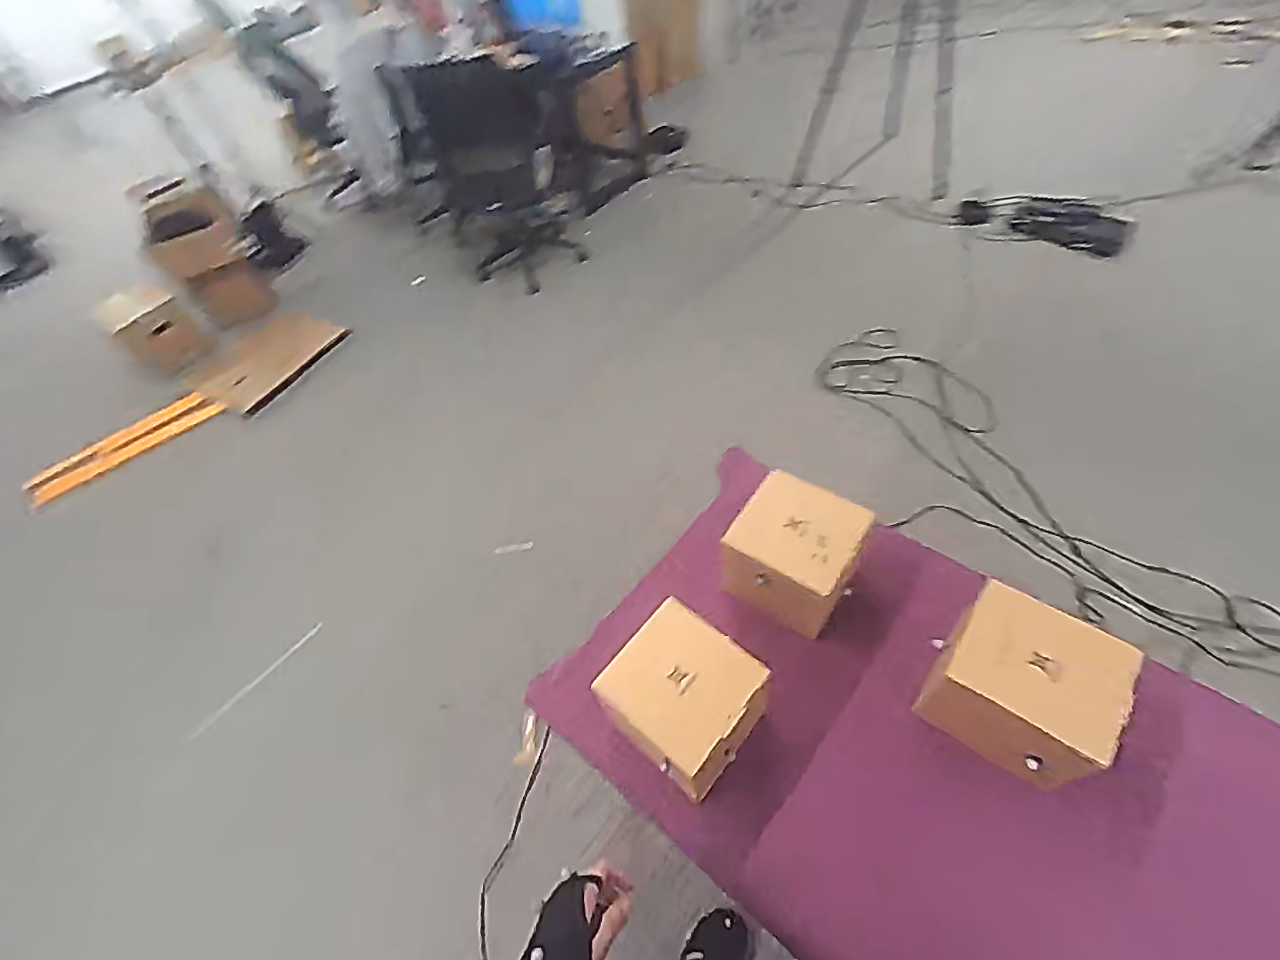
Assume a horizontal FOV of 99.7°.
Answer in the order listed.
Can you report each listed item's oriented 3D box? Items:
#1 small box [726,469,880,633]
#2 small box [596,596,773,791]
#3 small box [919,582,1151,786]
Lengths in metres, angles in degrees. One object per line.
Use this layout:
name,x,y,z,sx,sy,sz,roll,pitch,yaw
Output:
small box,0.256,0.120,0.882,0.179,0.176,0.168,29,63,27
small box,0.064,0.306,0.768,0.179,0.176,0.168,33,62,29
small box,0.508,0.276,0.719,0.179,0.176,0.168,30,62,29
